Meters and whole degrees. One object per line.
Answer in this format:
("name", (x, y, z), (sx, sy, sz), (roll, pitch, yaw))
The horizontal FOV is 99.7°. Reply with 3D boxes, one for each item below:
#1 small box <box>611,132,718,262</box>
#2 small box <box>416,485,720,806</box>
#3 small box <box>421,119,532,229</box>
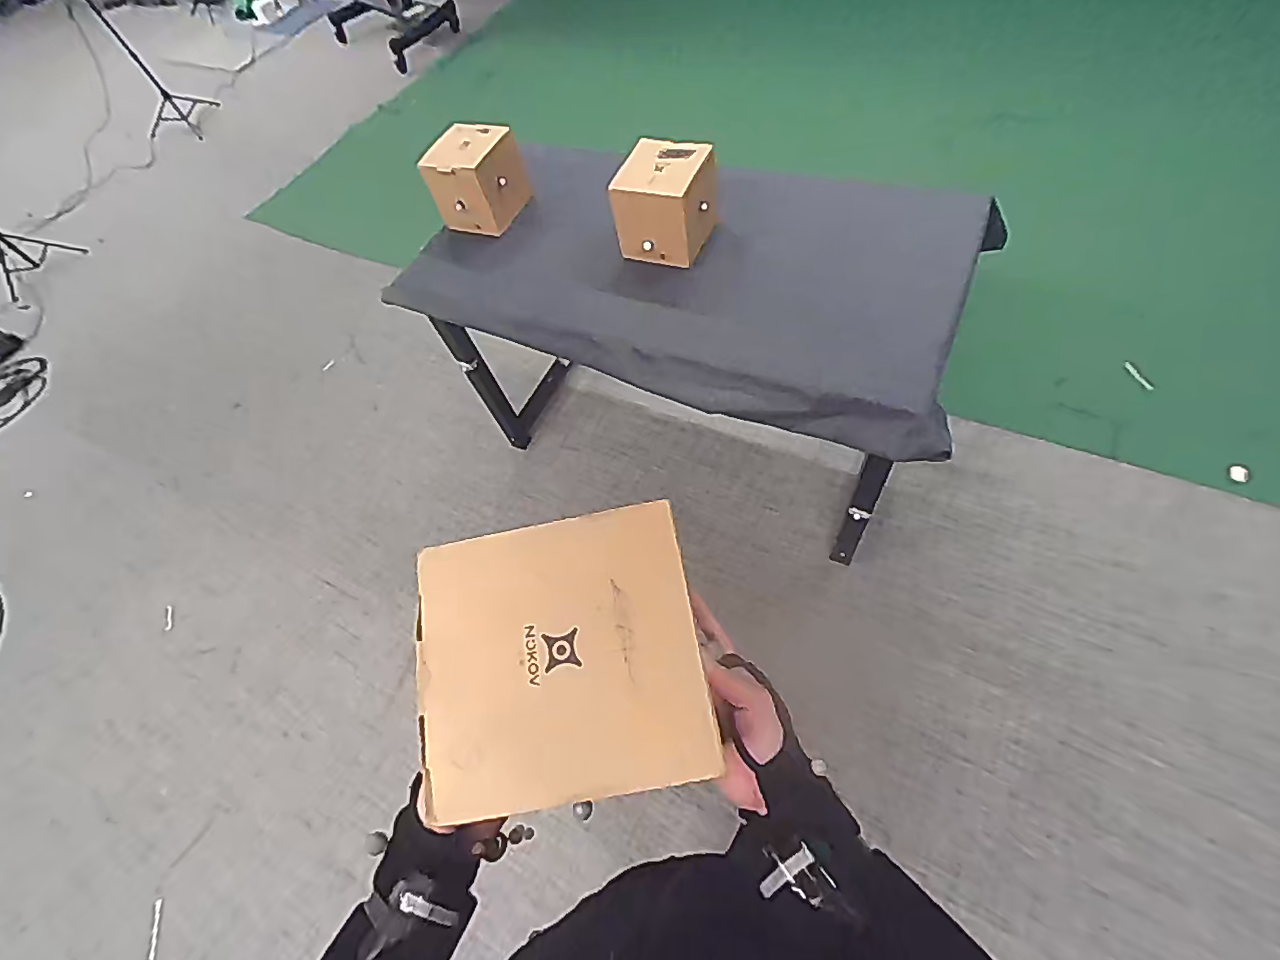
("small box", (0.060, -0.600, 1.151), (0.168, 0.176, 0.179), (18, 66, 20))
("small box", (-0.043, 0.122, 0.404), (0.179, 0.176, 0.168), (-12, 70, 2))
("small box", (-0.388, -0.743, 1.320), (0.168, 0.176, 0.179), (16, 65, 18))
